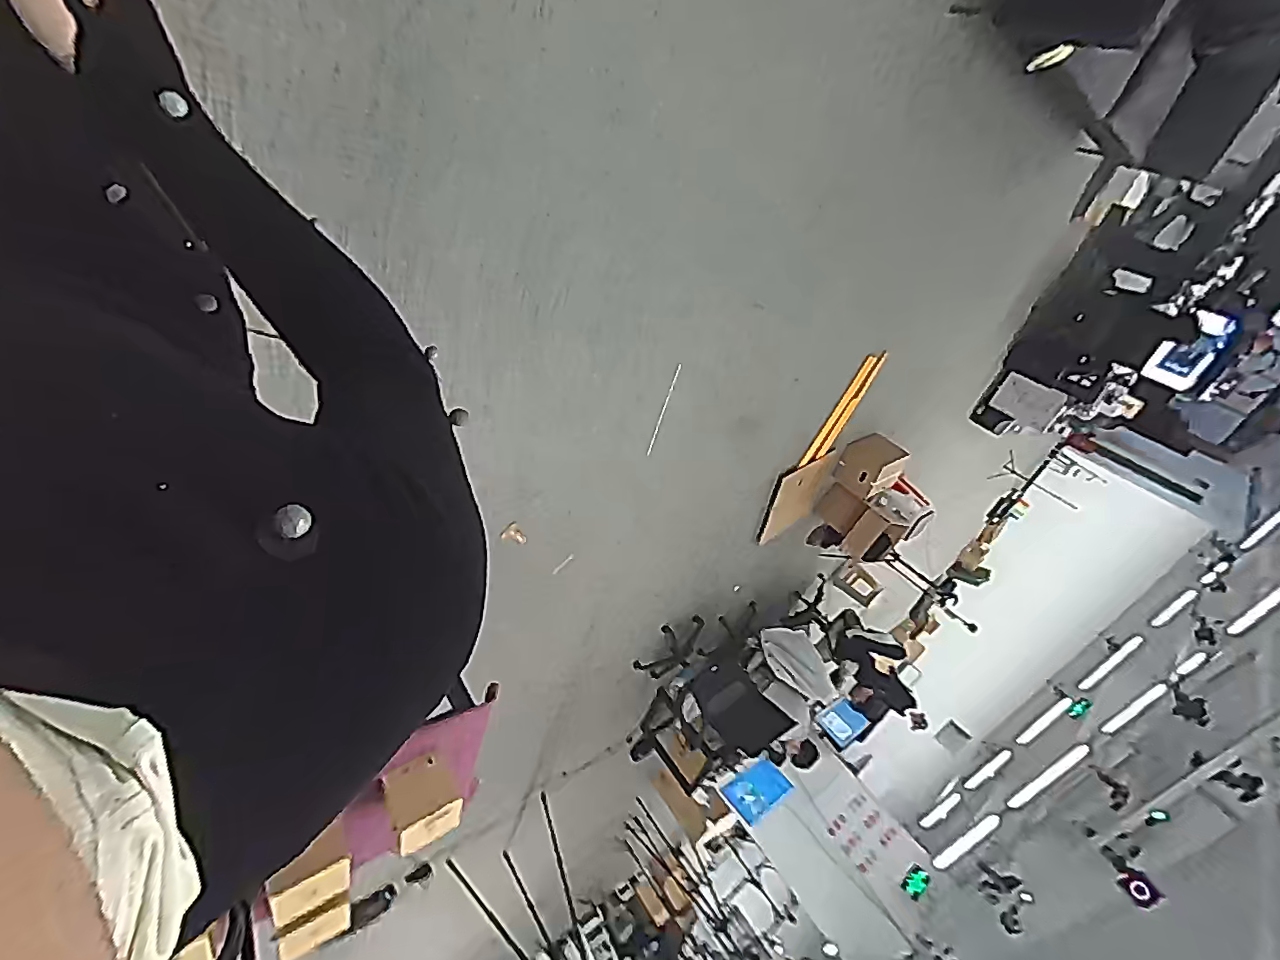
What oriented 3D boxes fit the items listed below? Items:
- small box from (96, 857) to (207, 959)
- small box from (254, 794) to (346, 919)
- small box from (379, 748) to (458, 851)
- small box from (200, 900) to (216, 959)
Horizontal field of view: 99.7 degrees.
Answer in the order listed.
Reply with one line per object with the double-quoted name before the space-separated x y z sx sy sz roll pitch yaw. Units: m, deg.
"small box" -1.066 0.977 1.186 0.168 0.176 0.179 -8 132 -41
"small box" -0.856 0.939 1.361 0.168 0.176 0.179 -10 132 -40
"small box" -0.633 0.896 1.537 0.168 0.176 0.179 -12 136 -37
"small box" -1.140 1.177 1.313 0.168 0.176 0.179 -9 131 -41
